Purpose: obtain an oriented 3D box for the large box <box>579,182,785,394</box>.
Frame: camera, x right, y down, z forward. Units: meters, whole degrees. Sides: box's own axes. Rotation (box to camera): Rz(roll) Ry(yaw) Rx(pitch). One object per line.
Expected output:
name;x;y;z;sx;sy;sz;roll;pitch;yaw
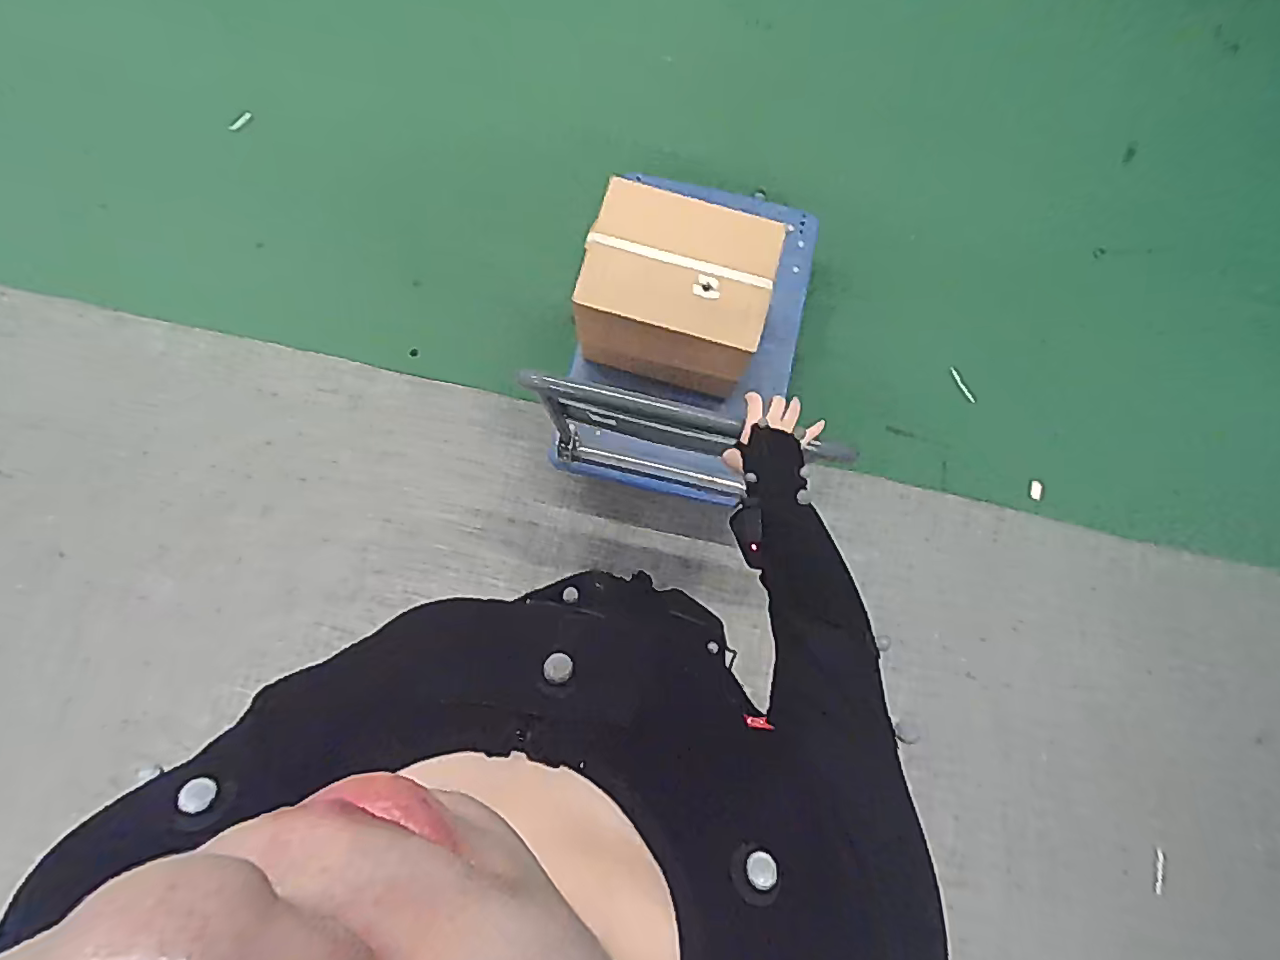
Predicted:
large box;0.087;-0.445;1.321;0.408;0.320;0.320;16;80;0
